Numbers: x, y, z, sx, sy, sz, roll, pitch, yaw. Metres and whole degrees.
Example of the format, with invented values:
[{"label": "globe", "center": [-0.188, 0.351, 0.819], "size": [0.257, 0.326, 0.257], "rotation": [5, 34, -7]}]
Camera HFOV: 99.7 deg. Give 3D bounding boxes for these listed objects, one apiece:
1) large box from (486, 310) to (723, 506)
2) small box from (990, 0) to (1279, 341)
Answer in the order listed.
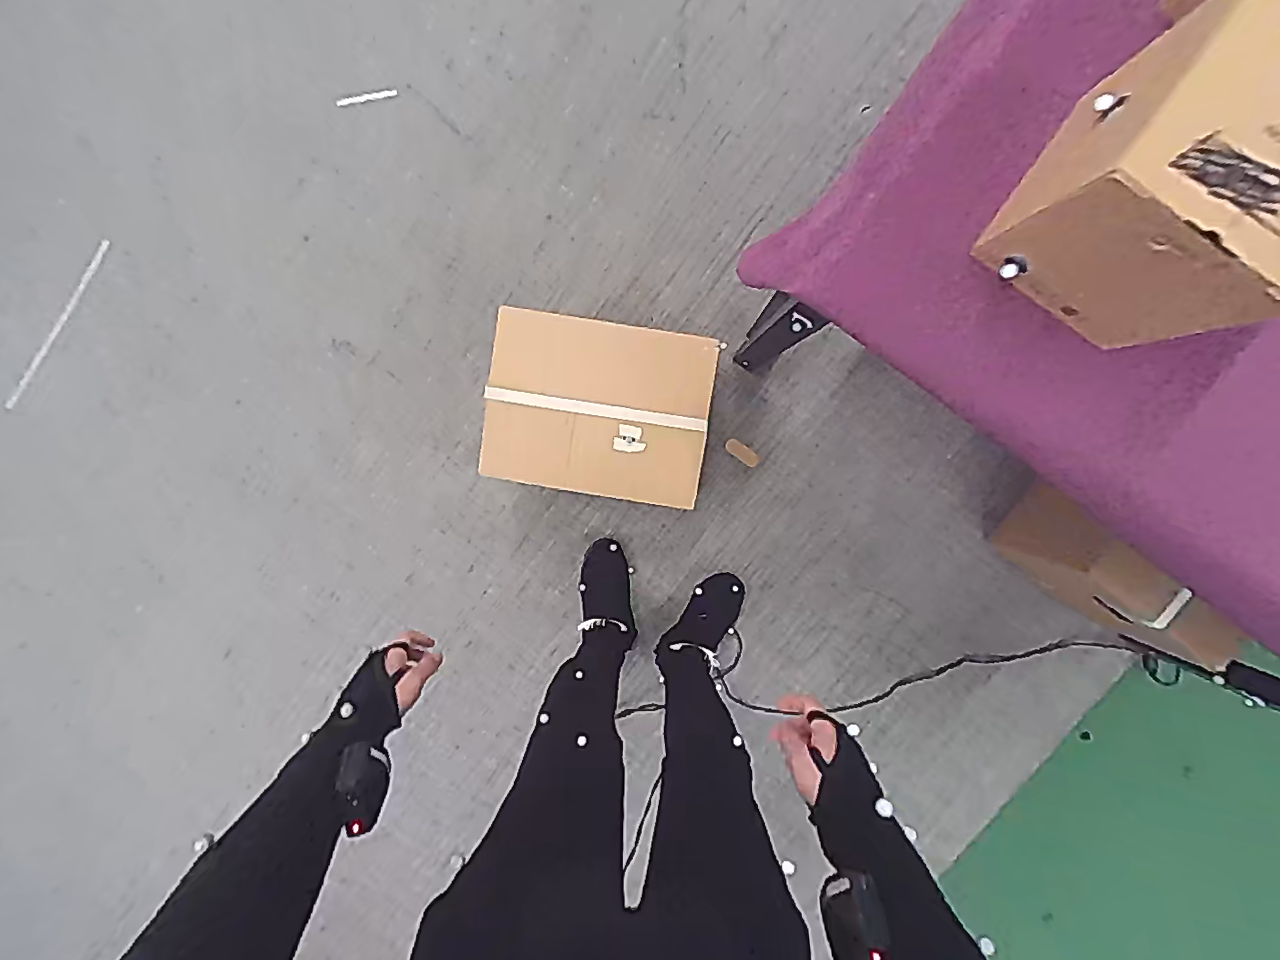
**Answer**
[{"label": "large box", "center": [-0.068, -0.139, 1.124], "size": [0.408, 0.320, 0.320], "rotation": [9, 95, 0]}, {"label": "small box", "center": [0.431, -0.237, 0.437], "size": [0.168, 0.176, 0.179], "rotation": [35, 93, -2]}]
